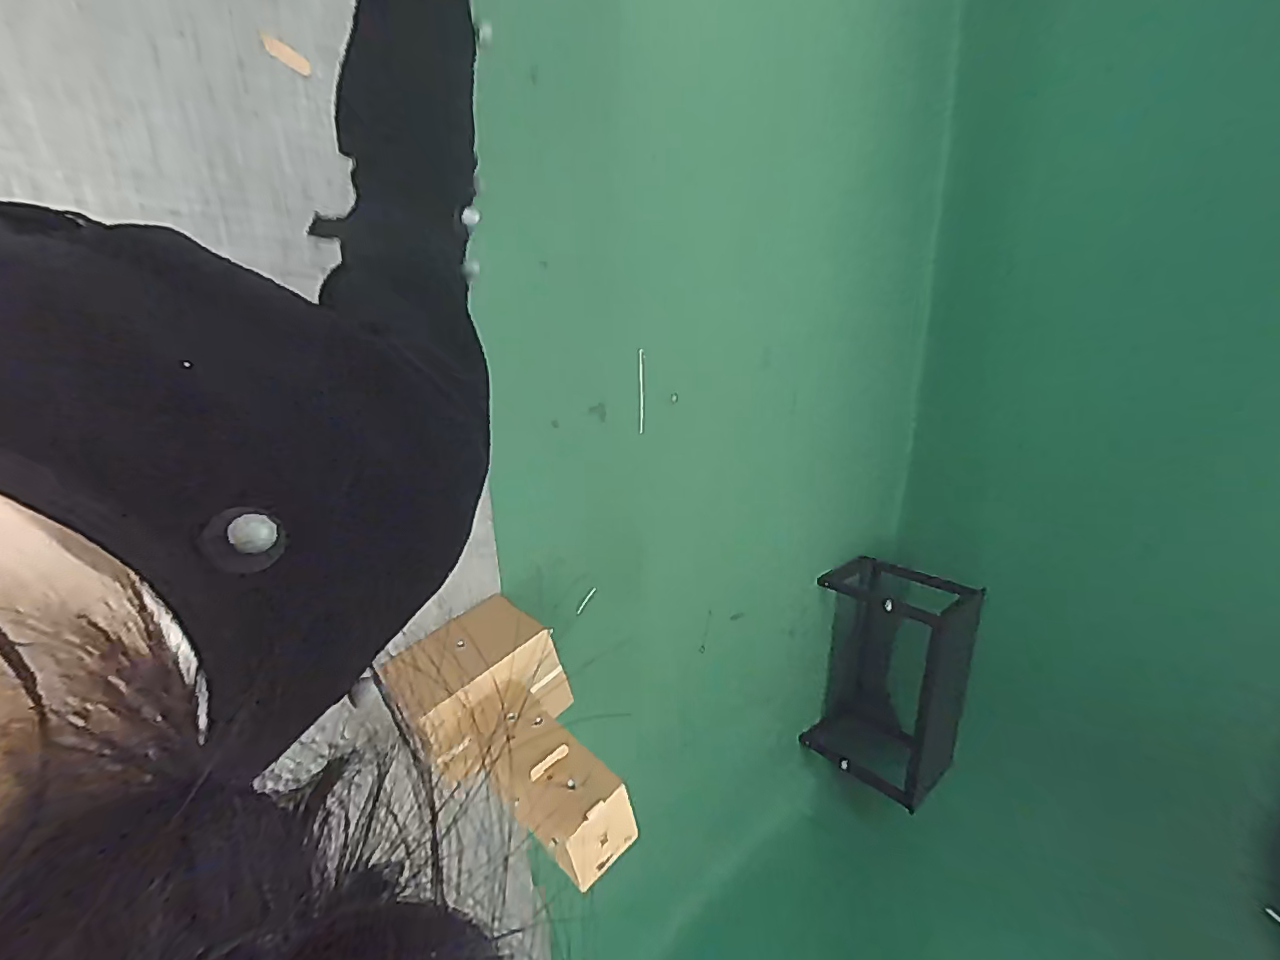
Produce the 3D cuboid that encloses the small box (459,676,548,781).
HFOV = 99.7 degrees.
[{"bbox_3d":[-0.356,0.666,1.454,0.179,0.176,0.168,-27,118,-34],"label":"small box"}]

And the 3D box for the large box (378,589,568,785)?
[{"bbox_3d":[-0.498,0.602,1.644,0.408,0.320,0.320,-32,123,-34],"label":"large box"}]

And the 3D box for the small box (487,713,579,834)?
[{"bbox_3d":[-0.254,0.707,1.332,0.168,0.176,0.179,-25,117,-35],"label":"small box"}]

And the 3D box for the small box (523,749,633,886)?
[{"bbox_3d":[-0.142,0.742,1.217,0.168,0.176,0.179,-27,117,-34],"label":"small box"}]
